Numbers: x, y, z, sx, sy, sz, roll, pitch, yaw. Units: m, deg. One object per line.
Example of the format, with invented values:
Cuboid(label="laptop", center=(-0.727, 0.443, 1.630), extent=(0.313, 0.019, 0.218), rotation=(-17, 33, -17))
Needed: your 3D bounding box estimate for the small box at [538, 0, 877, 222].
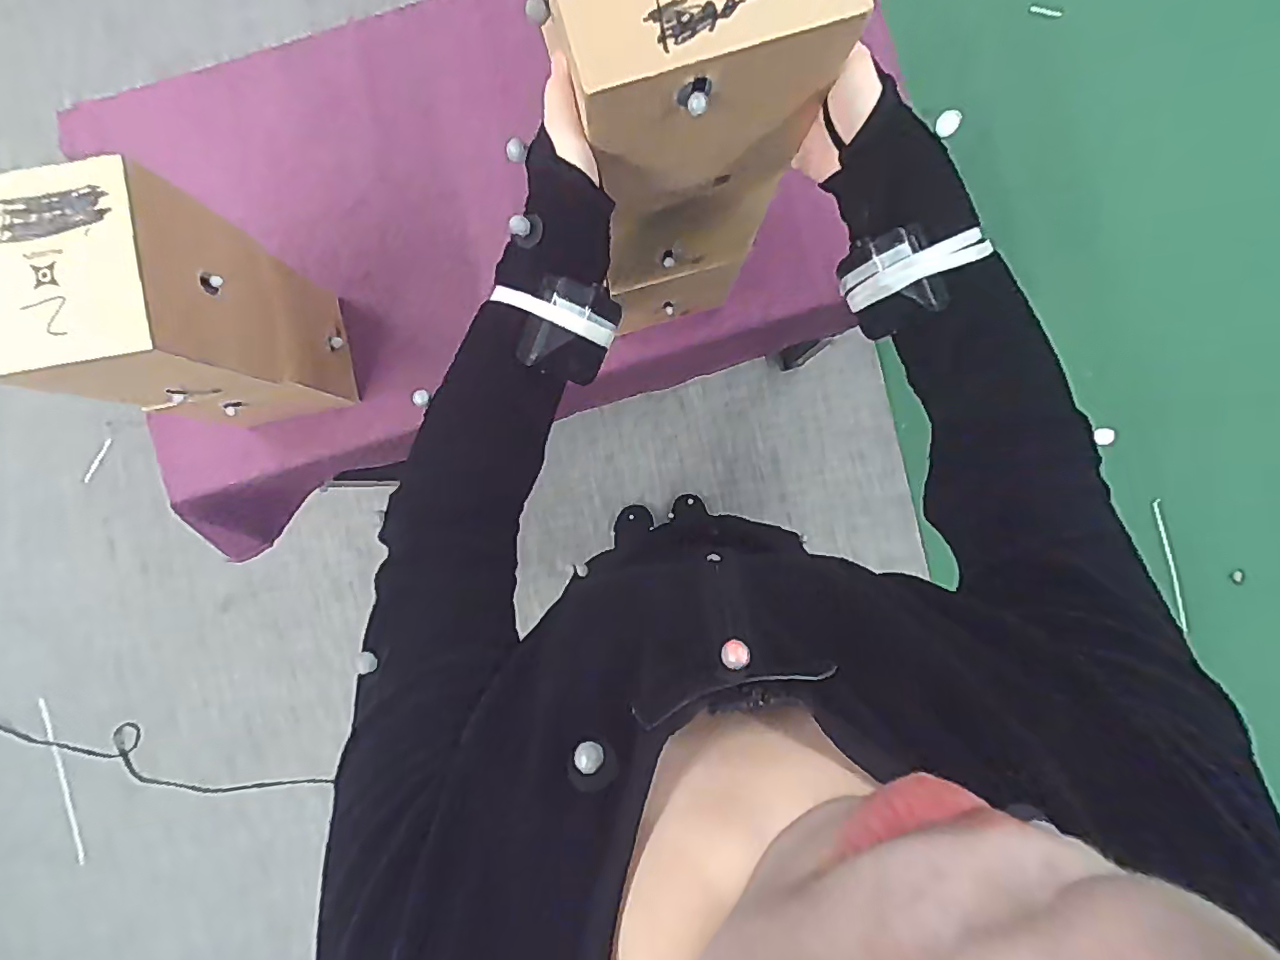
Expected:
Cuboid(label="small box", center=(0.024, -0.311, 0.363), extent=(0.168, 0.176, 0.179), rotation=(-17, 93, -1))

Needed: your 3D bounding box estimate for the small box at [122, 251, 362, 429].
Cuboid(label="small box", center=(-0.506, -0.170, 0.711), extent=(0.179, 0.176, 0.168), rotation=(-13, 90, 0))

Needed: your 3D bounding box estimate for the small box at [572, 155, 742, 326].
Cuboid(label="small box", center=(0.022, -0.315, 0.706), extent=(0.168, 0.176, 0.179), rotation=(-16, 89, 0))

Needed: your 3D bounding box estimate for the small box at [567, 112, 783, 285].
Cuboid(label="small box", center=(0.023, -0.324, 0.542), extent=(0.168, 0.176, 0.179), rotation=(-15, 91, 1))
